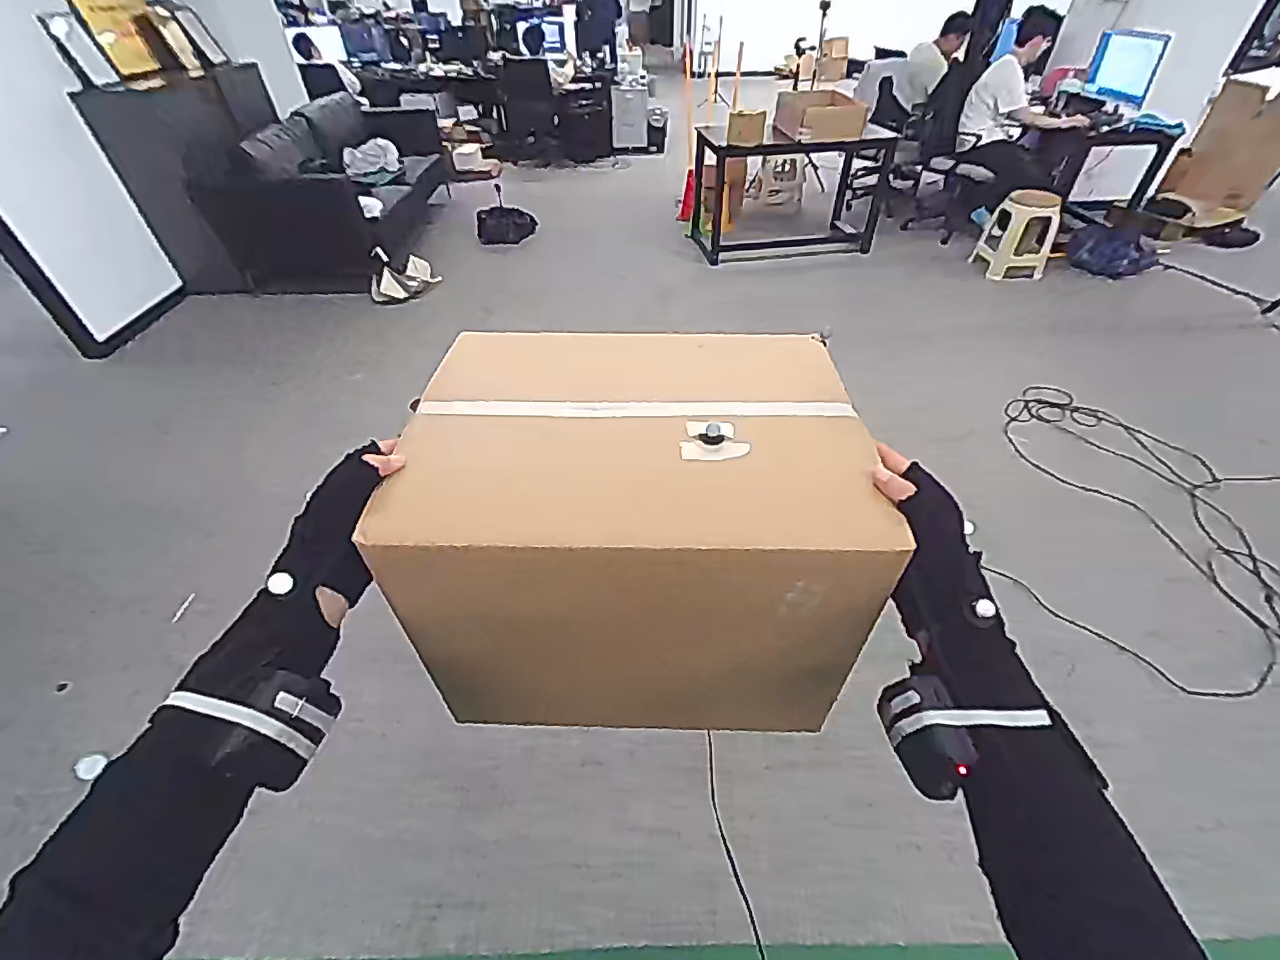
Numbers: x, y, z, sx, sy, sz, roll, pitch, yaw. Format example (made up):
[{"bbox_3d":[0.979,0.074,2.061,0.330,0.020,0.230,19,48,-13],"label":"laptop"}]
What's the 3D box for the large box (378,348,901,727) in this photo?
[{"bbox_3d":[-0.003,0.062,0.611,0.408,0.320,0.320,1,43,0],"label":"large box"}]
